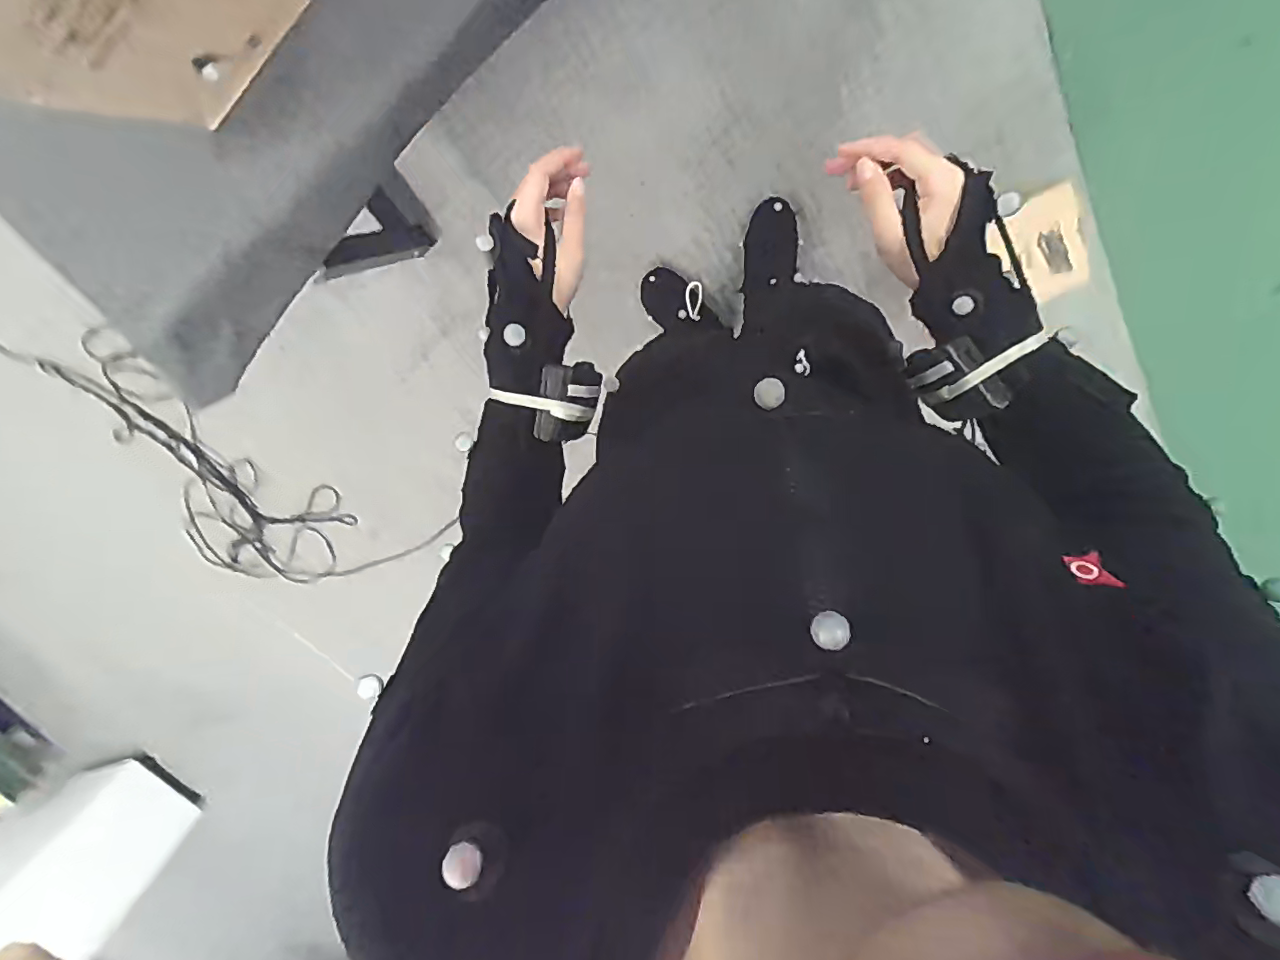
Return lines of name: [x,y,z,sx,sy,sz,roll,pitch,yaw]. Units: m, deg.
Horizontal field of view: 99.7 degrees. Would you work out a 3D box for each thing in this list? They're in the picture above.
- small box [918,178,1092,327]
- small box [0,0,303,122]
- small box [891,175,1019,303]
small box: [0.617,-0.393,0.931,0.179,0.176,0.168,-25,111,18]
small box: [-0.401,-0.398,0.388,0.168,0.176,0.179,-33,110,20]
small box: [0.629,-0.477,1.069,0.179,0.176,0.168,-24,113,18]
